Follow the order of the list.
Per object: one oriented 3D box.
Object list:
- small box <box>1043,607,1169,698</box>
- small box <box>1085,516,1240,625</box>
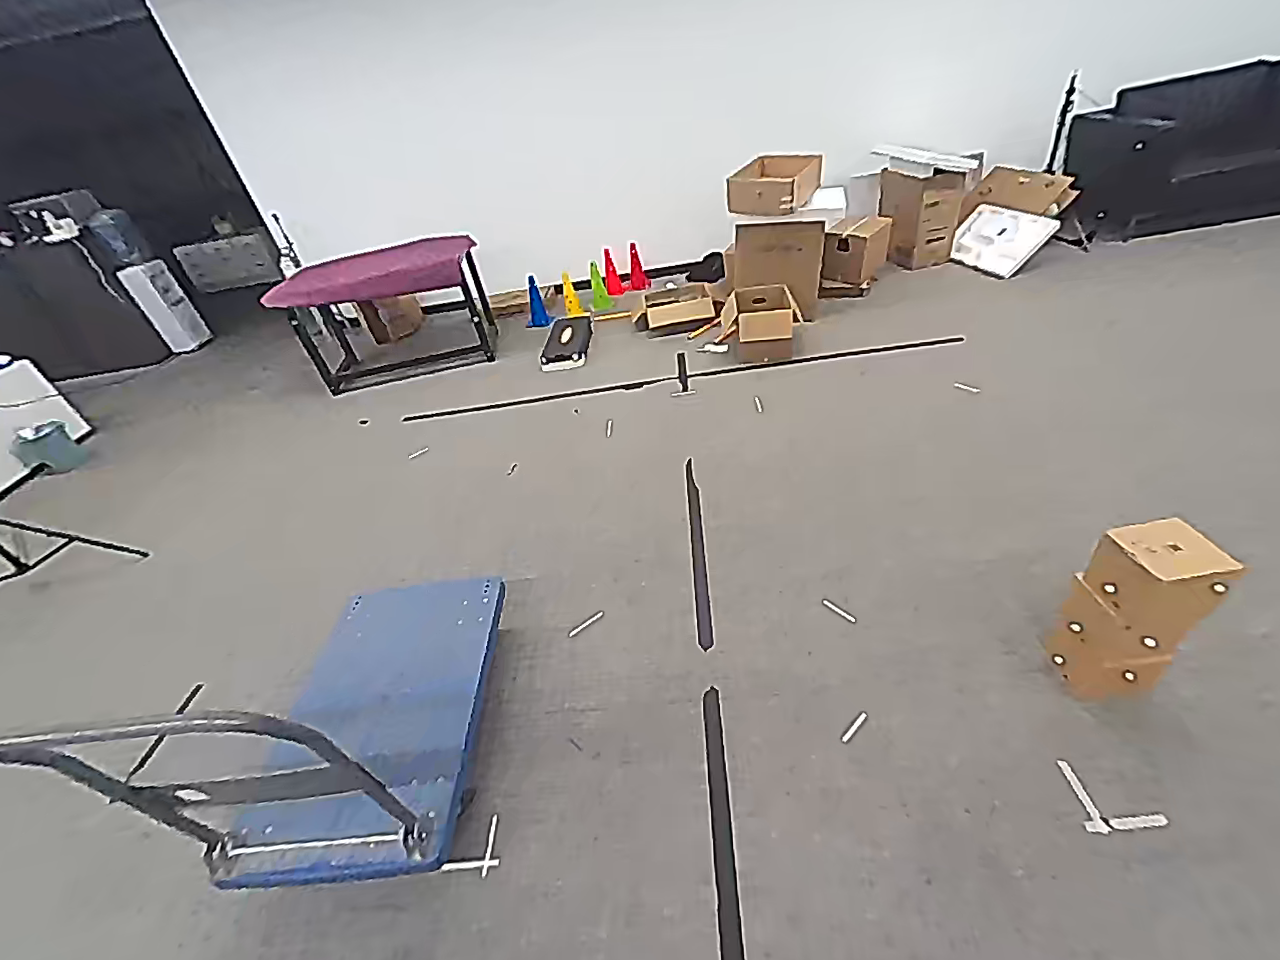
[{"bbox_3d":[1.250,0.469,1.467,0.179,0.176,0.168,-9,37,5],"label":"small box"},{"bbox_3d":[1.203,0.213,1.264,0.179,0.176,0.168,-12,36,2],"label":"small box"}]
